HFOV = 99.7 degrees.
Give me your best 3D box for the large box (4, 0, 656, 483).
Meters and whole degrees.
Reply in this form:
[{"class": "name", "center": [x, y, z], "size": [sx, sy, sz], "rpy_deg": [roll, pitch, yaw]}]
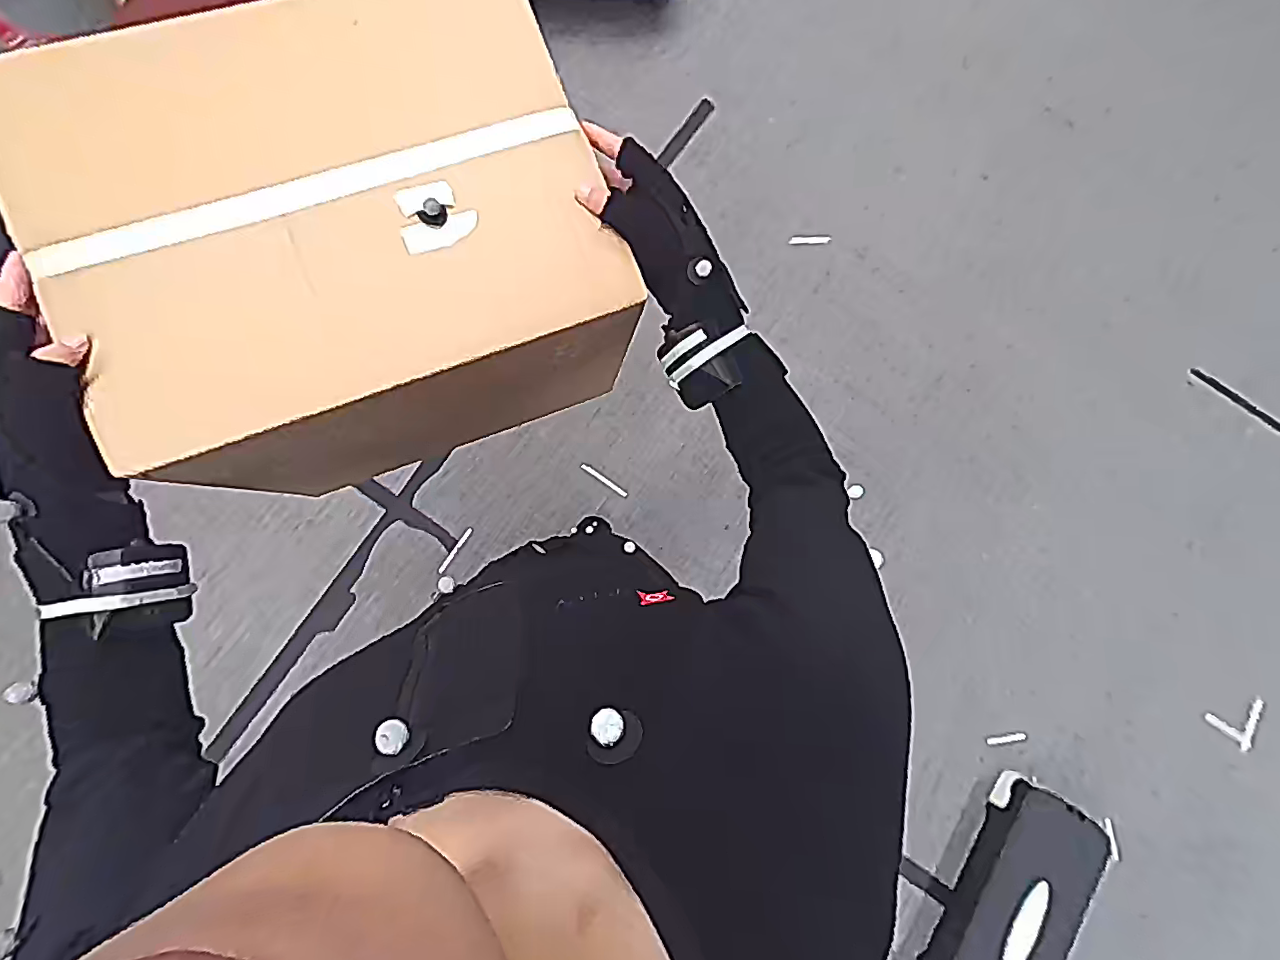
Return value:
[{"class": "large box", "center": [-0.245, -0.217, 0.562], "size": [0.408, 0.320, 0.320], "rpy_deg": [-21, 90, -10]}]
